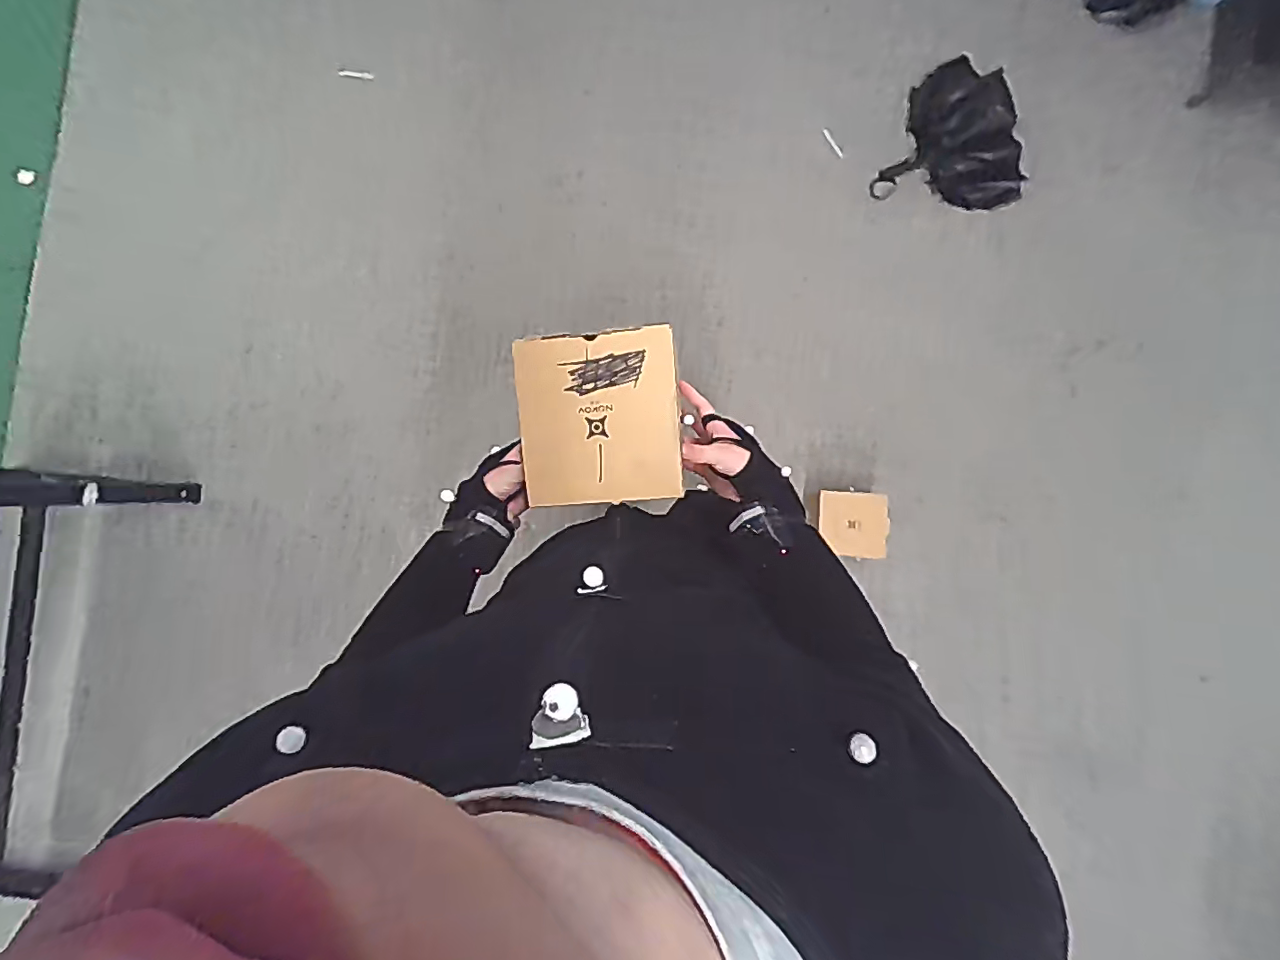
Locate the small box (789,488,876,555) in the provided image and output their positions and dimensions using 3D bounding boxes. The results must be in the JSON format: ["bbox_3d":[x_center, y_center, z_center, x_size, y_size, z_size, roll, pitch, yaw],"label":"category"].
[{"bbox_3d":[0.521,0.109,1.478,0.179,0.176,0.168,3,88,2],"label":"small box"}]
